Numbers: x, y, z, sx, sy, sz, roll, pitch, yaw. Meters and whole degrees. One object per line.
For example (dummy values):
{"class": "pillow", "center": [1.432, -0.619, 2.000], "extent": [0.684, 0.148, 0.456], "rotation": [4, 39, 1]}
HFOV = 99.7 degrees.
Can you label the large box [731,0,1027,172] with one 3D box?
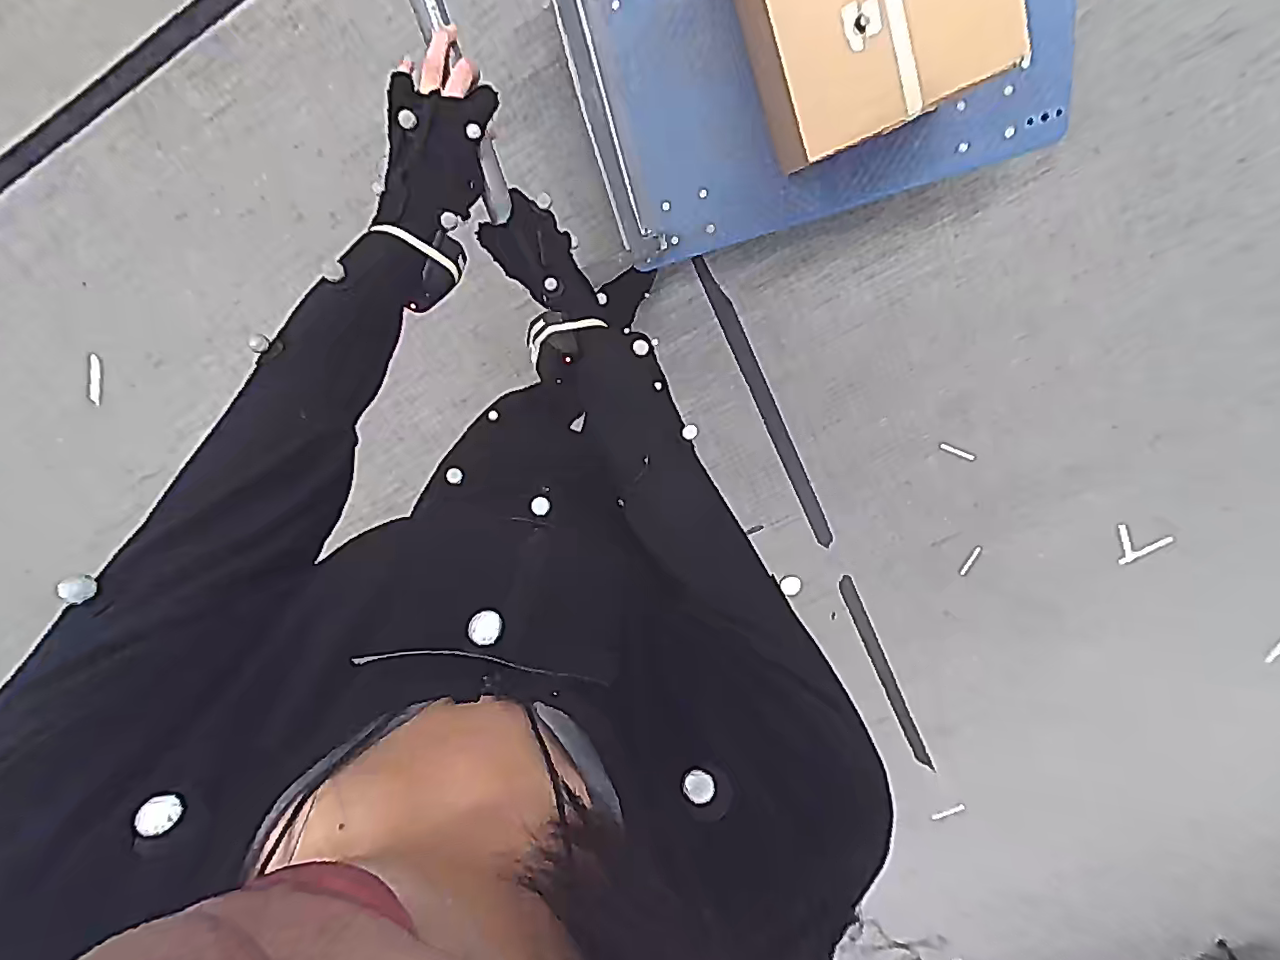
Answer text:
{"class": "large box", "center": [0.335, -0.774, 0.856], "extent": [0.320, 0.320, 0.408], "rotation": [-20, 112, 16]}
